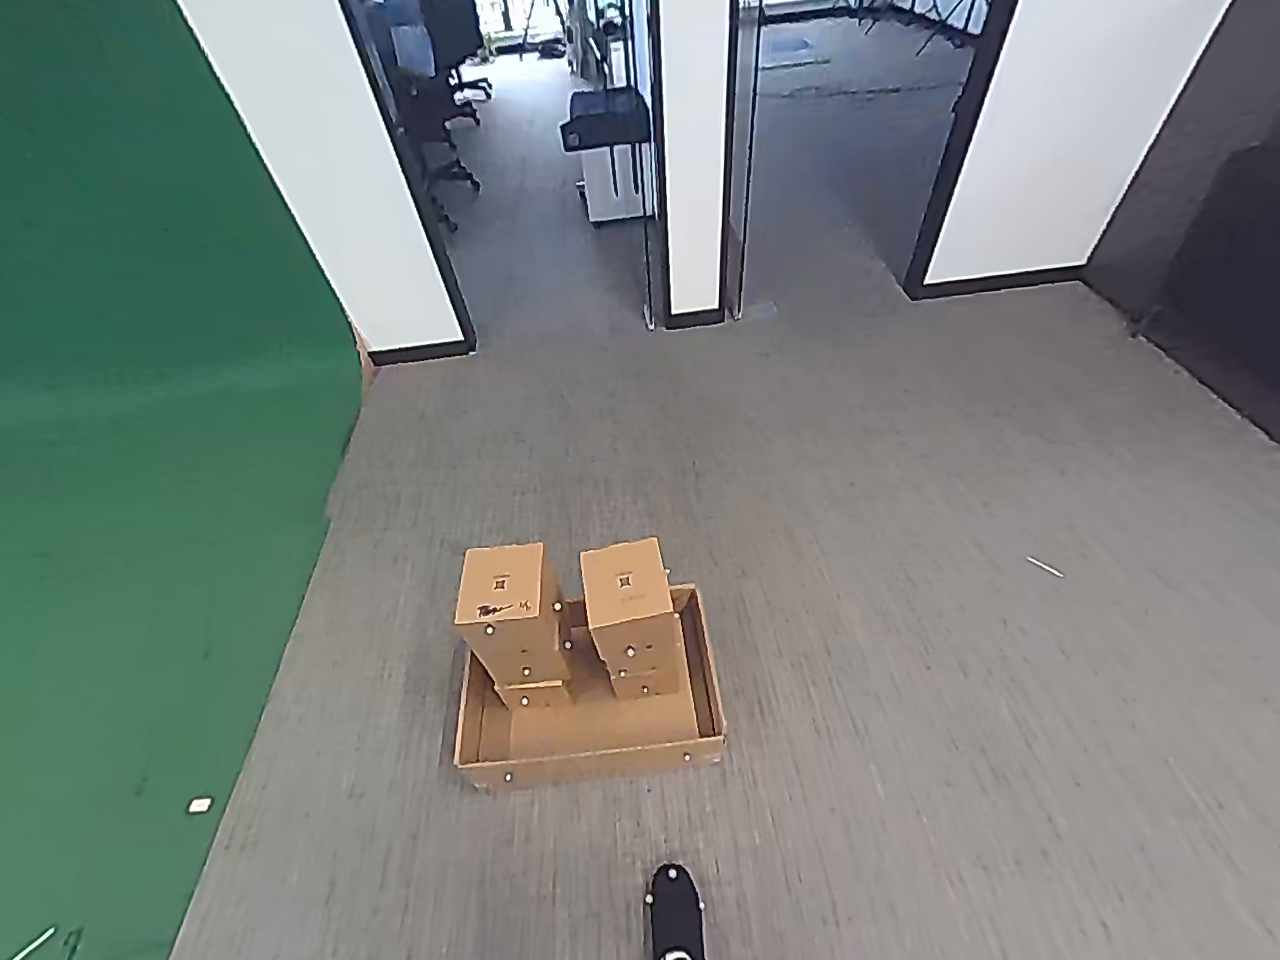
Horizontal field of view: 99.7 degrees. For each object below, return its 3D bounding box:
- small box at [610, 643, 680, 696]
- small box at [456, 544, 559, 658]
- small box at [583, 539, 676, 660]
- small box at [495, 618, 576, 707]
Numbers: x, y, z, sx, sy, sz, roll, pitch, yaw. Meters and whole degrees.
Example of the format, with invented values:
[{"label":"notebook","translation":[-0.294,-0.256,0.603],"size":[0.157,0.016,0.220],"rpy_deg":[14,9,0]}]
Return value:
[{"label":"small box","translation":[0.011,0.446,1.396],"size":[0.168,0.176,0.179],"rpy_deg":[-7,49,0]},{"label":"small box","translation":[-0.271,0.258,1.151],"size":[0.168,0.176,0.179],"rpy_deg":[-5,48,2]},{"label":"small box","translation":[-0.022,0.252,1.133],"size":[0.168,0.176,0.179],"rpy_deg":[-11,51,-2]},{"label":"small box","translation":[-0.261,0.477,1.397],"size":[0.168,0.176,0.179],"rpy_deg":[-3,49,1]}]
